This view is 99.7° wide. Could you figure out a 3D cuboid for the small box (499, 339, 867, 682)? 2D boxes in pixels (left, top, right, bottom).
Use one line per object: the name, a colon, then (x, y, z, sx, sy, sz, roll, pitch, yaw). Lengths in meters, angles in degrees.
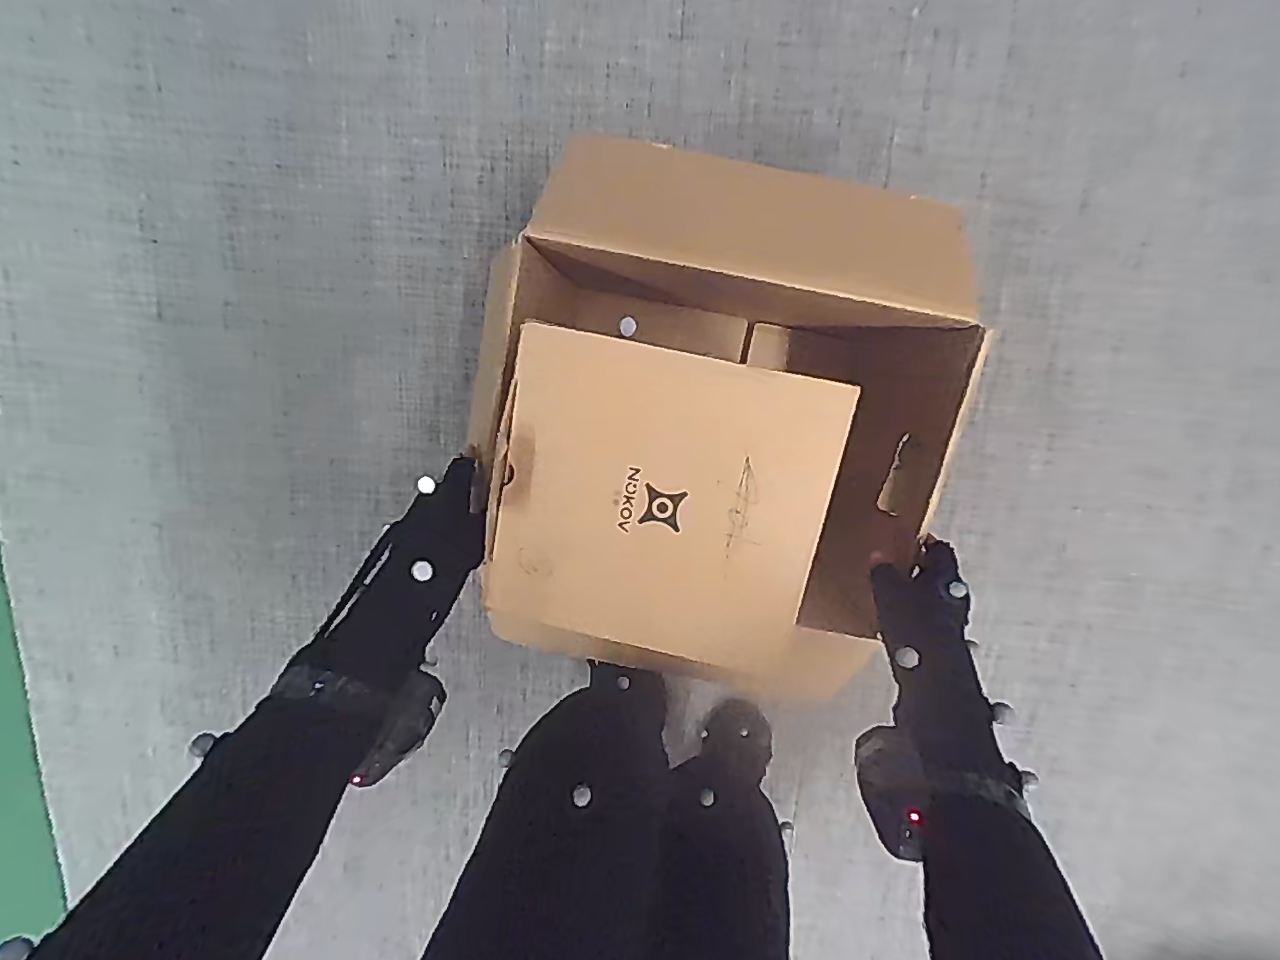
small box: (0.023, 0.005, 0.371, 0.179, 0.176, 0.168, 10, 103, 3)
